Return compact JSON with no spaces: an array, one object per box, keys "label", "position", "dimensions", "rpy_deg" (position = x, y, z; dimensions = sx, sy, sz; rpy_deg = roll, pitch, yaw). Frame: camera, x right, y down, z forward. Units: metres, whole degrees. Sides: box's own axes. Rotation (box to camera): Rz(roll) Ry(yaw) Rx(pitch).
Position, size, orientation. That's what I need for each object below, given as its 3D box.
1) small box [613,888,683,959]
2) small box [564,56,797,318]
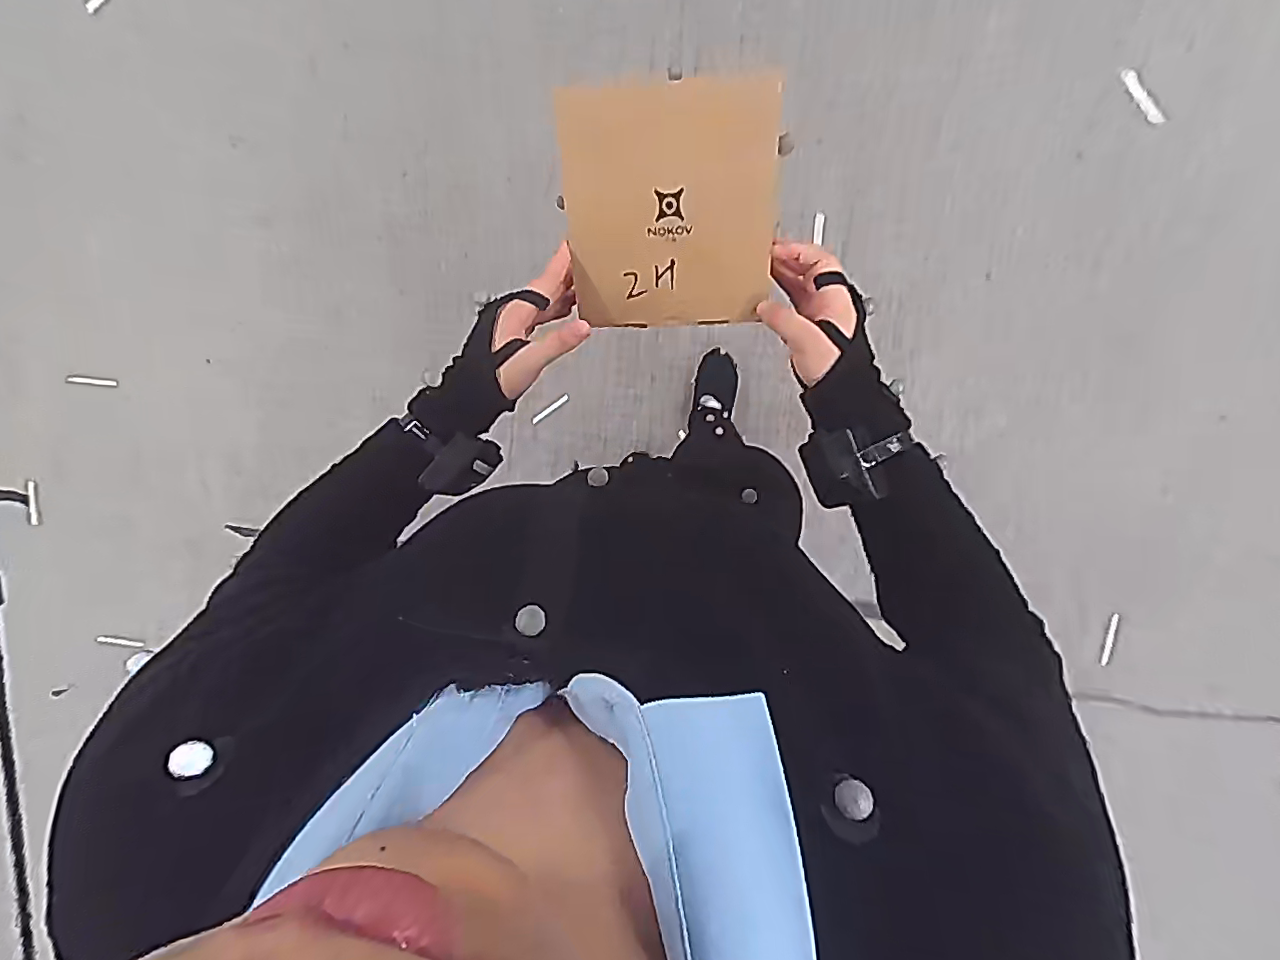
[{"label":"small box","position":[0.023,1.189,1.371],"dimensions":[0.168,0.176,0.179],"rpy_deg":[1,97,5]},{"label":"small box","position":[0.035,-0.257,0.484],"dimensions":[0.168,0.176,0.179],"rpy_deg":[0,124,5]}]
